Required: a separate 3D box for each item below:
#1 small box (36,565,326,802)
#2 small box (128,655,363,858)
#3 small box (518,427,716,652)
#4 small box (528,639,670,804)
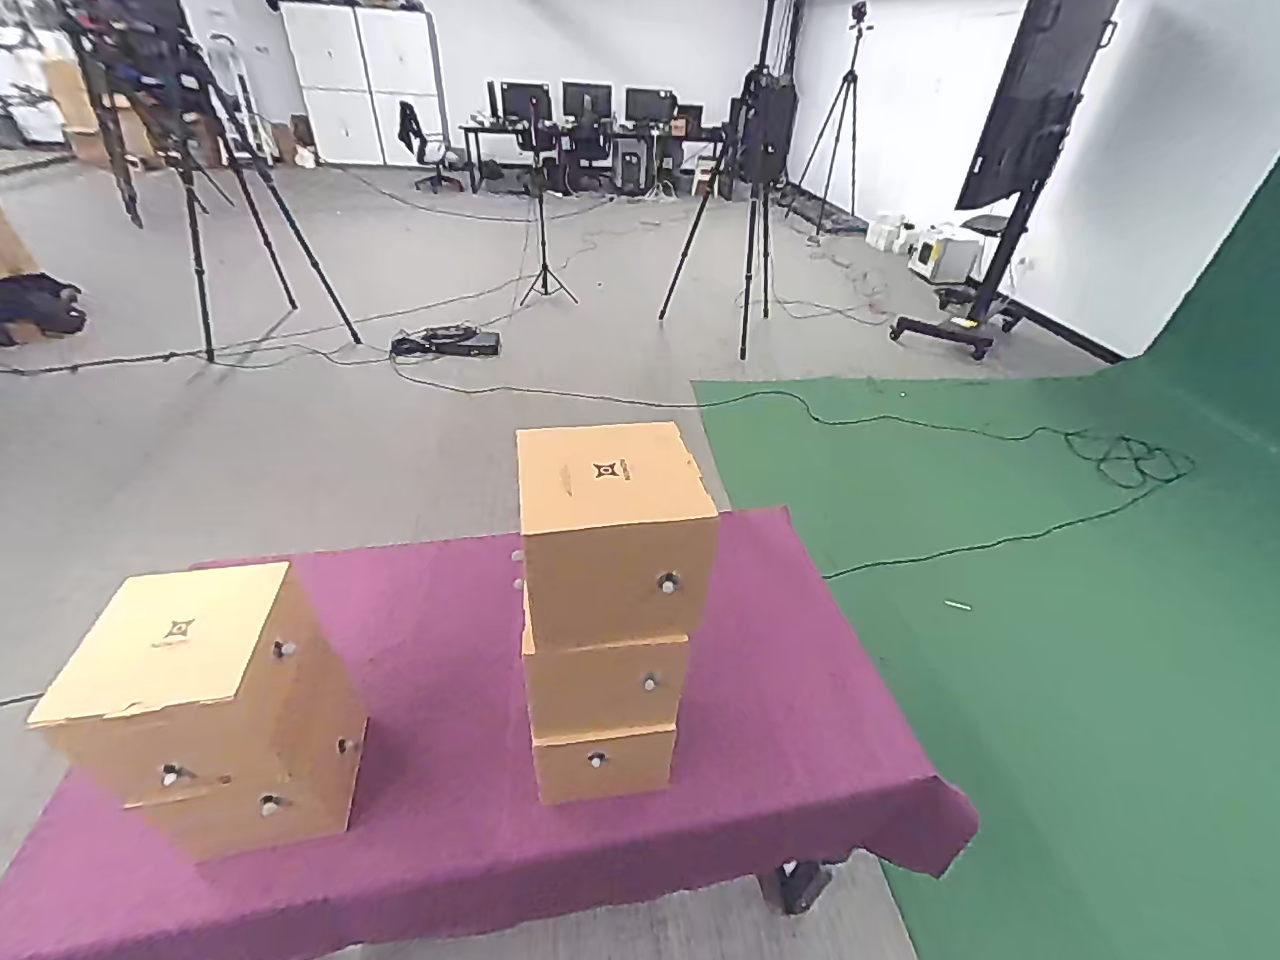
[{"bbox_3d":[-0.474,0.221,0.602,0.168,0.176,0.179,-4,39,-11],"label":"small box"},{"bbox_3d":[-0.479,0.353,0.698,0.179,0.176,0.168,-4,38,-11],"label":"small box"},{"bbox_3d":[-0.035,0.060,0.576,0.179,0.176,0.168,-4,38,-10],"label":"small box"},{"bbox_3d":[-0.061,0.330,0.762,0.179,0.176,0.168,-3,38,-9],"label":"small box"}]
